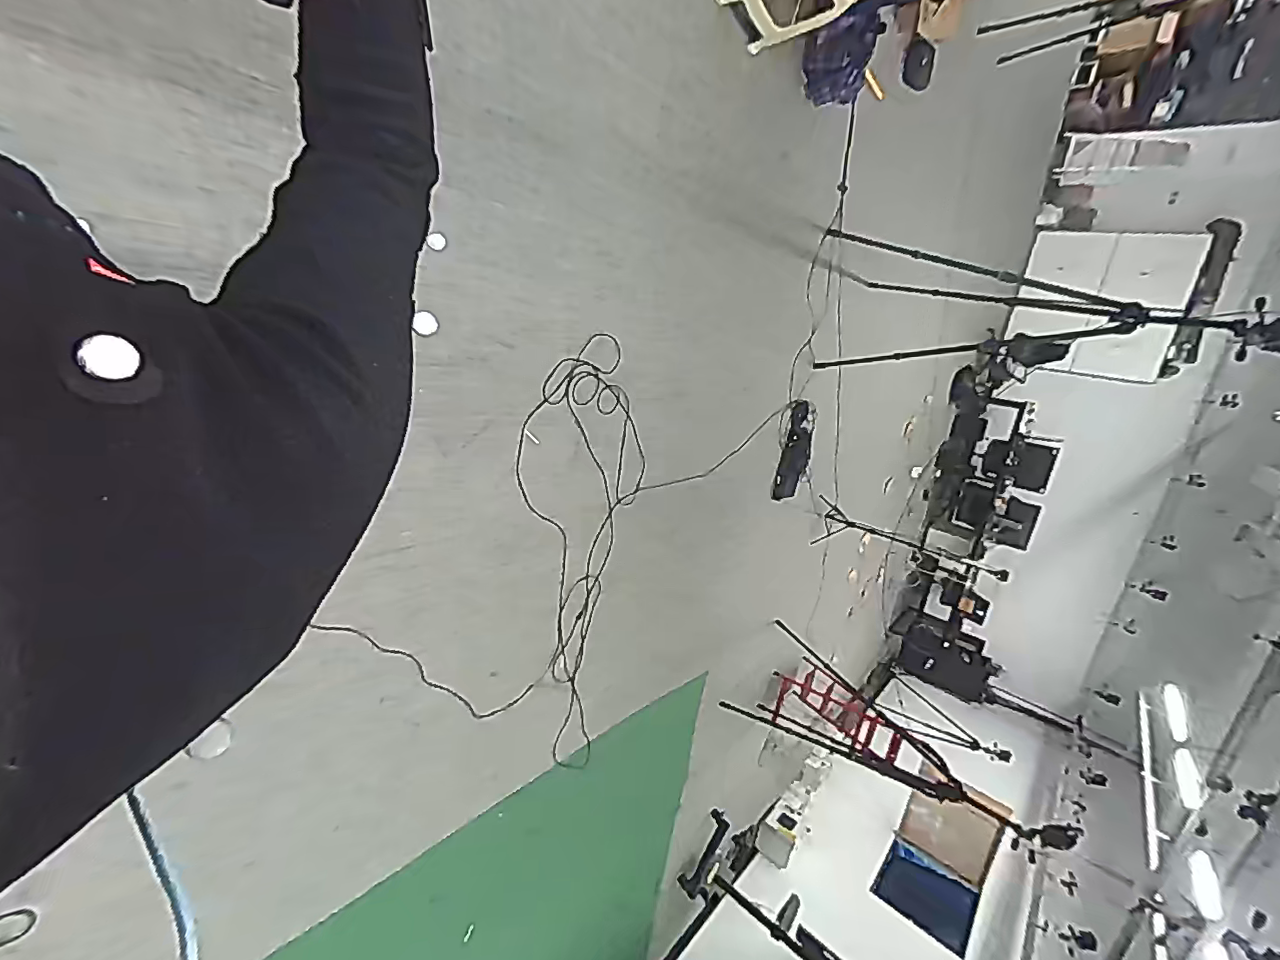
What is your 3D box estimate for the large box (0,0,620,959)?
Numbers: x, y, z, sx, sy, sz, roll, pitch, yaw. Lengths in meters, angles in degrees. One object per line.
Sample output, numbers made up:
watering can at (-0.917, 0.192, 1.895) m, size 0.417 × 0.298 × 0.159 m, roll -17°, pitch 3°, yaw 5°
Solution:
large box at (-0.215, 0.013, 0.305) m, size 0.320 × 0.320 × 0.408 m, roll 11°, pitch 67°, yaw -21°
